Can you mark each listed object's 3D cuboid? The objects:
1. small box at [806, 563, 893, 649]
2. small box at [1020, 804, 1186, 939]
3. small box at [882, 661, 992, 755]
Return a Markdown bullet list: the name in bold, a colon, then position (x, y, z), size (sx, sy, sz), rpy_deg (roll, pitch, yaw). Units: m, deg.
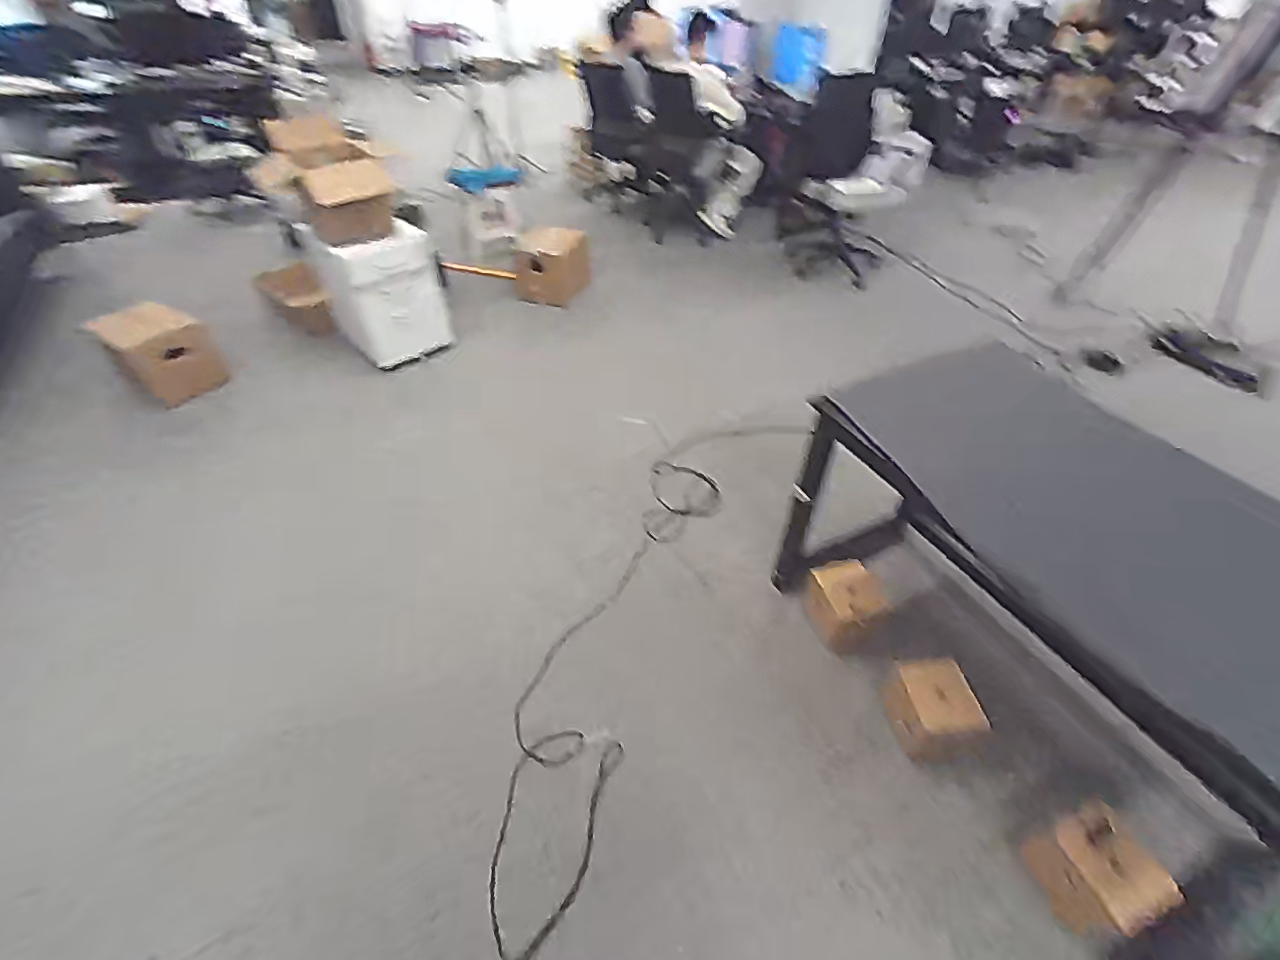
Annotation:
- **small box**: position (0.628, 0.383, 1.646), size (0.168, 0.176, 0.179), rpy_deg (-10, 43, -9)
- **small box**: position (0.973, 0.840, 1.159), size (0.168, 0.176, 0.179), rpy_deg (-15, 46, -14)
- **small box**: position (0.765, 0.601, 1.413), size (0.168, 0.176, 0.179), rpy_deg (-3, 42, -4)
